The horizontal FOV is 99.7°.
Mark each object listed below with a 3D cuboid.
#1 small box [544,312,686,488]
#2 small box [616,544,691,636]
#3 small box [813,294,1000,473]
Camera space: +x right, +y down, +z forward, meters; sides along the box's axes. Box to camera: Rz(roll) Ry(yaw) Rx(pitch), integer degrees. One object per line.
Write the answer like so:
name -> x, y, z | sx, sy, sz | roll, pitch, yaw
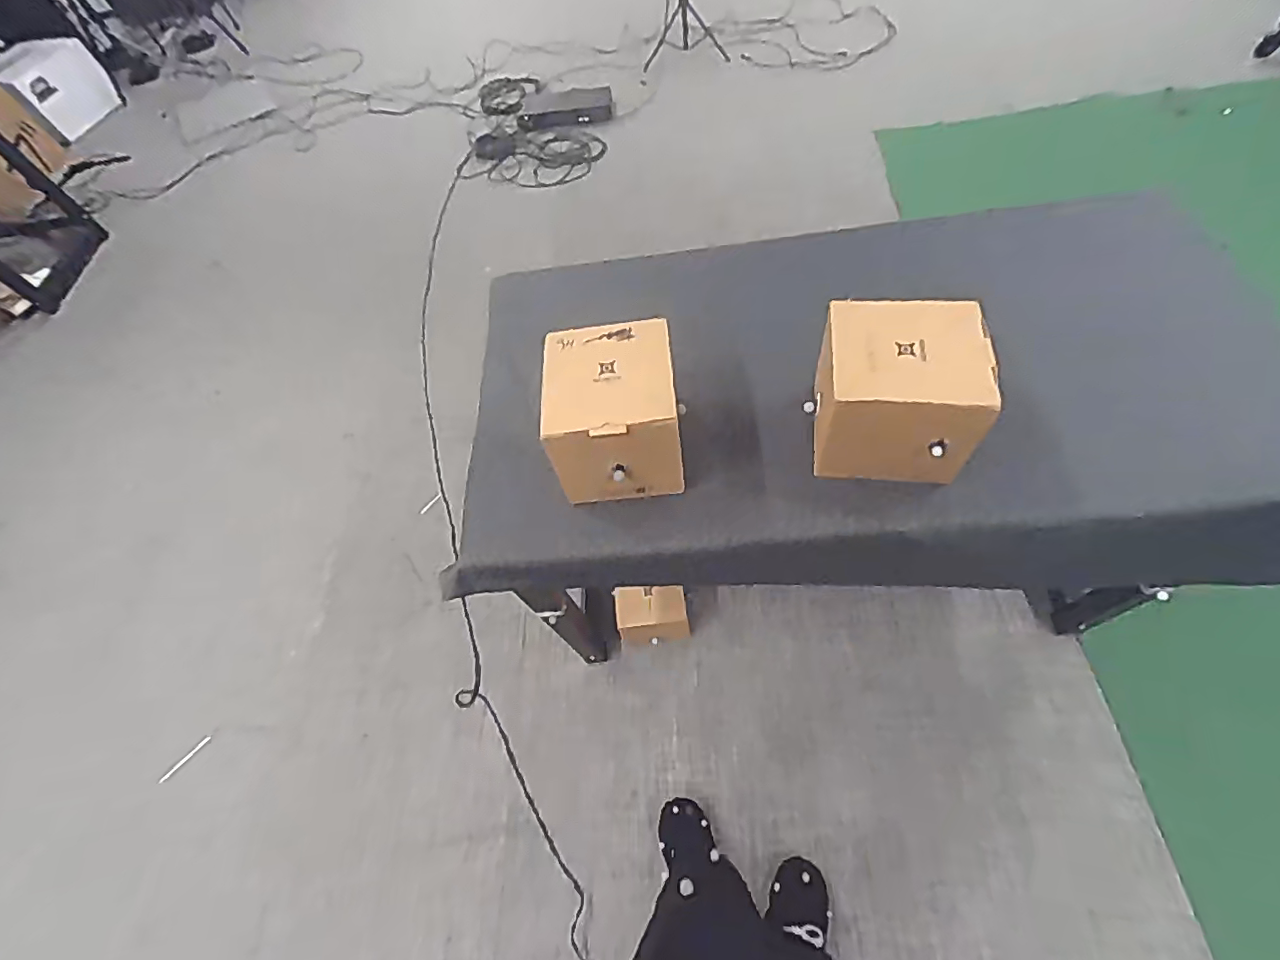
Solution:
small box -> -0.028, -0.099, 0.746 | 0.168, 0.176, 0.179 | -6, 59, 4
small box -> 0.035, 0.282, 1.367 | 0.168, 0.176, 0.179 | -8, 60, 4
small box -> 0.329, -0.121, 0.708 | 0.179, 0.176, 0.168 | 2, 59, 11
